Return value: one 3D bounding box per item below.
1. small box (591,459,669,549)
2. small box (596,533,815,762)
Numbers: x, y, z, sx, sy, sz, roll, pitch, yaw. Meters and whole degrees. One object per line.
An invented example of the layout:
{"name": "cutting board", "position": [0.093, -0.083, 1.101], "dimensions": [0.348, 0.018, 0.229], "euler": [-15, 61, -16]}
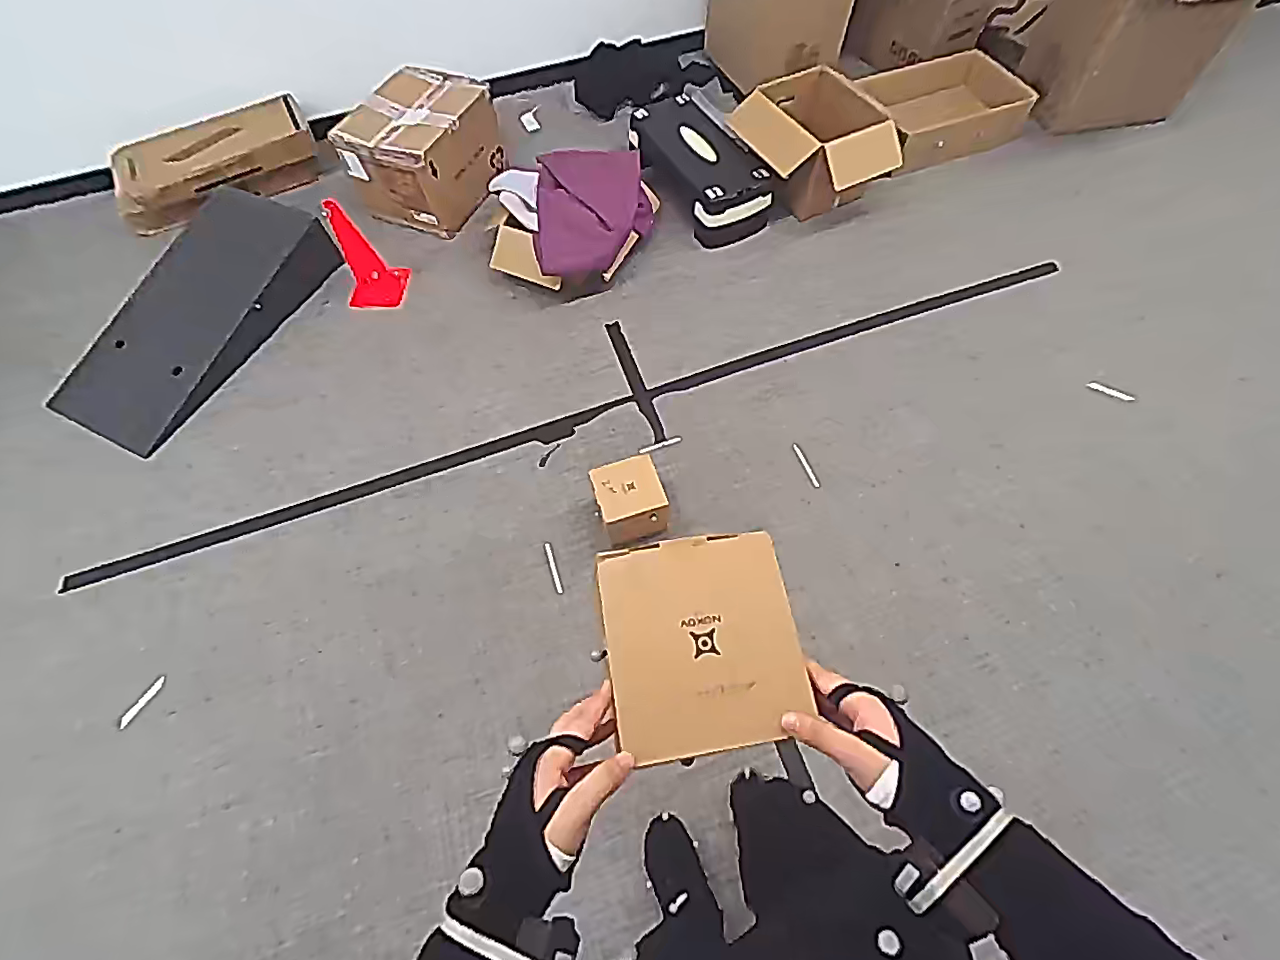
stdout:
{"name": "small box", "position": [-0.027, 0.071, 1.504], "dimensions": [0.179, 0.176, 0.168], "euler": [-17, 63, -6]}
{"name": "small box", "position": [0.047, 0.169, 0.544], "dimensions": [0.168, 0.176, 0.179], "euler": [-7, 68, -8]}
